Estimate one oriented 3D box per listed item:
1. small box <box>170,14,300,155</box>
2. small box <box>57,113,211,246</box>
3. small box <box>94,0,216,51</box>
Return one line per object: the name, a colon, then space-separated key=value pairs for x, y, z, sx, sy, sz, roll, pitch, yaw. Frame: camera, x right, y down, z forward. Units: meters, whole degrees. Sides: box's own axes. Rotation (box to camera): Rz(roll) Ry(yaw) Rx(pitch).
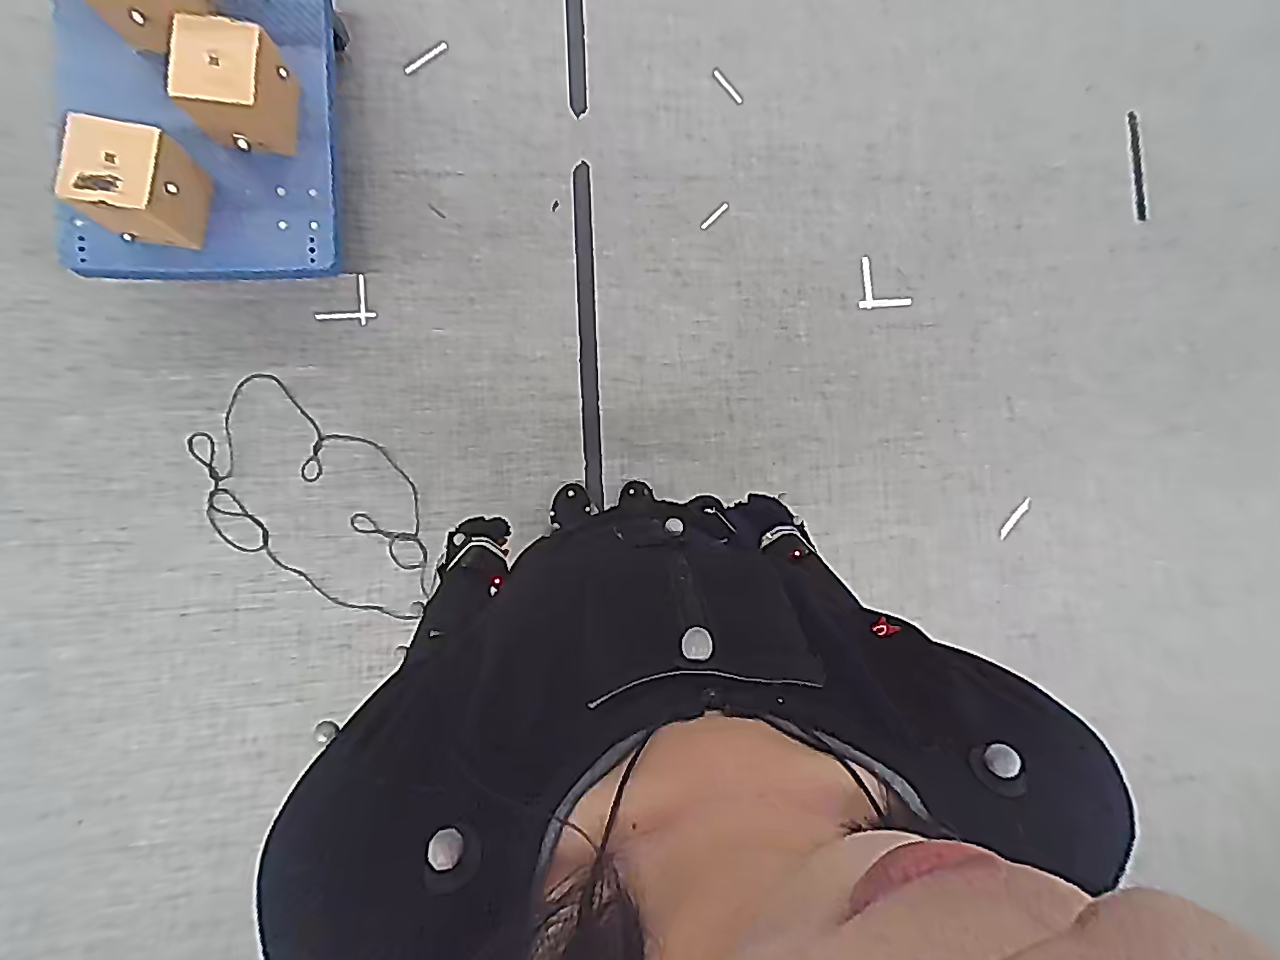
small box: x=-0.875 y=-0.855 z=1.184 sx=0.168 sy=0.176 sz=0.179 roll=3 pitch=89 yaw=-6
small box: x=-1.060 y=-0.625 z=1.148 sx=0.168 sy=0.176 sz=0.179 roll=7 pitch=86 yaw=-8
small box: x=-1.062 y=-1.070 z=1.166 sx=0.179 sy=0.176 sz=0.168 roll=-7 pitch=89 yaw=-7
